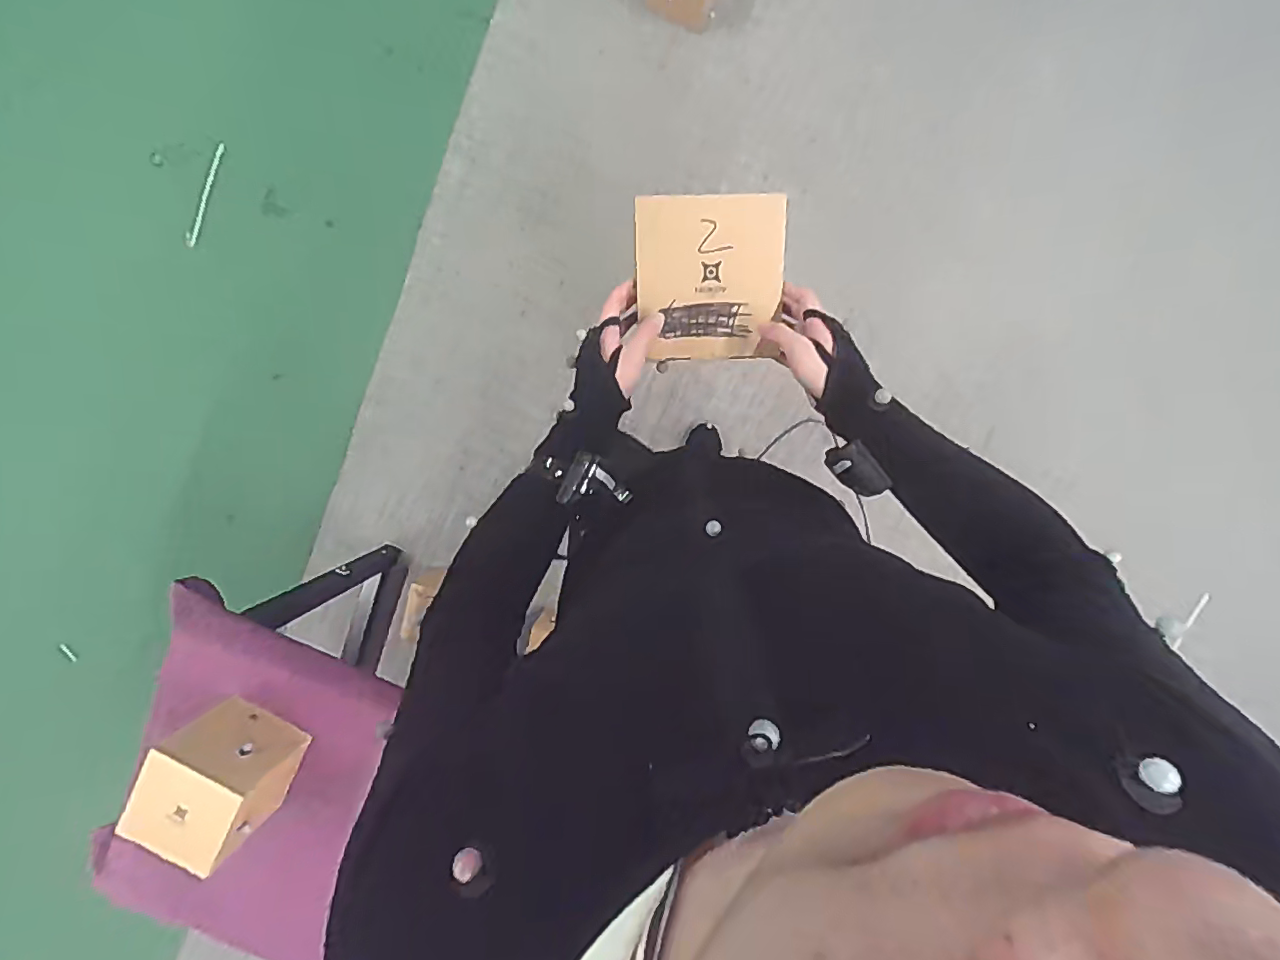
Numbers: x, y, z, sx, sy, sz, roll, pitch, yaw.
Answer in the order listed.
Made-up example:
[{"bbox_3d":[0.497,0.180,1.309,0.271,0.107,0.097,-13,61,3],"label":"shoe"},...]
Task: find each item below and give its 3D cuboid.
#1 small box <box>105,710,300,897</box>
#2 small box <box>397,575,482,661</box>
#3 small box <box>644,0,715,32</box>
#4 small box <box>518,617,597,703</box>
[{"bbox_3d":[-0.718,0.528,0.909,0.168,0.176,0.179,28,99,-1],"label":"small box"},{"bbox_3d":[-0.593,0.406,1.618,0.168,0.176,0.179,16,98,2],"label":"small box"},{"bbox_3d":[0.116,-1.293,1.368,0.179,0.176,0.168,24,97,2],"label":"small box"},{"bbox_3d":[-0.239,0.527,1.609,0.179,0.176,0.168,16,98,1],"label":"small box"}]
